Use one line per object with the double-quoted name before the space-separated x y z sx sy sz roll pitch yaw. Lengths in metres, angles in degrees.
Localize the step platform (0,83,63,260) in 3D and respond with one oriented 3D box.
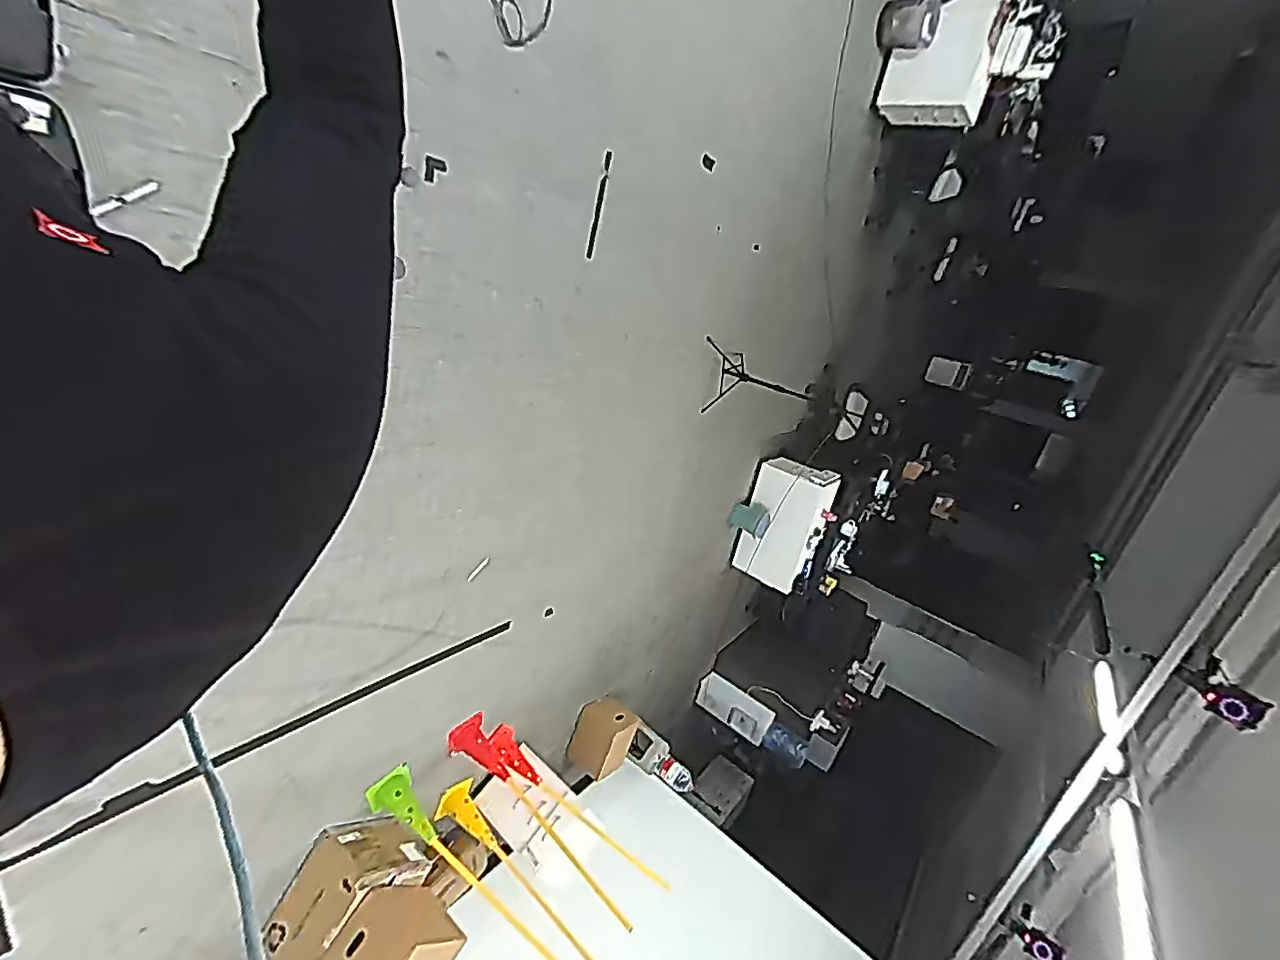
"step platform" -1.313 -0.502 0.761 0.684 0.204 0.286 -16 125 -49
